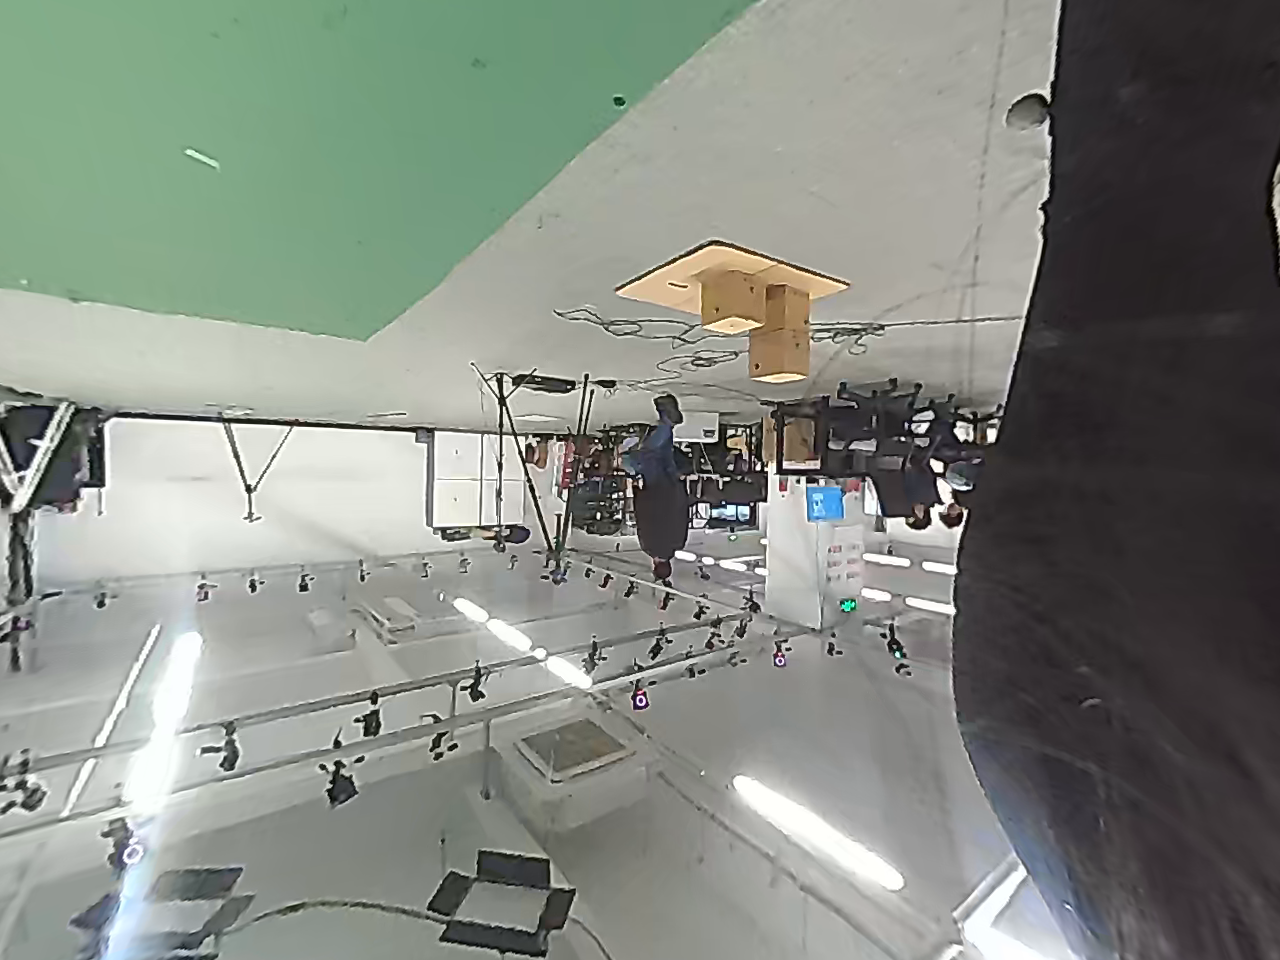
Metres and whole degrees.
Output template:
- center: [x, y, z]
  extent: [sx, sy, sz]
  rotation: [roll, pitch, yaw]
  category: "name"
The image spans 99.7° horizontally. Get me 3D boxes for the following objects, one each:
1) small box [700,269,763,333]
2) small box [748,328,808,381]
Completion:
- center: [0.340, -0.658, 2.000]
  extent: [0.168, 0.176, 0.179]
  rotation: [0, 180, -33]
  category: "small box"
- center: [0.547, -0.492, 2.136]
  extent: [0.168, 0.176, 0.179]
  rotation: [-2, -178, -37]
  category: "small box"
